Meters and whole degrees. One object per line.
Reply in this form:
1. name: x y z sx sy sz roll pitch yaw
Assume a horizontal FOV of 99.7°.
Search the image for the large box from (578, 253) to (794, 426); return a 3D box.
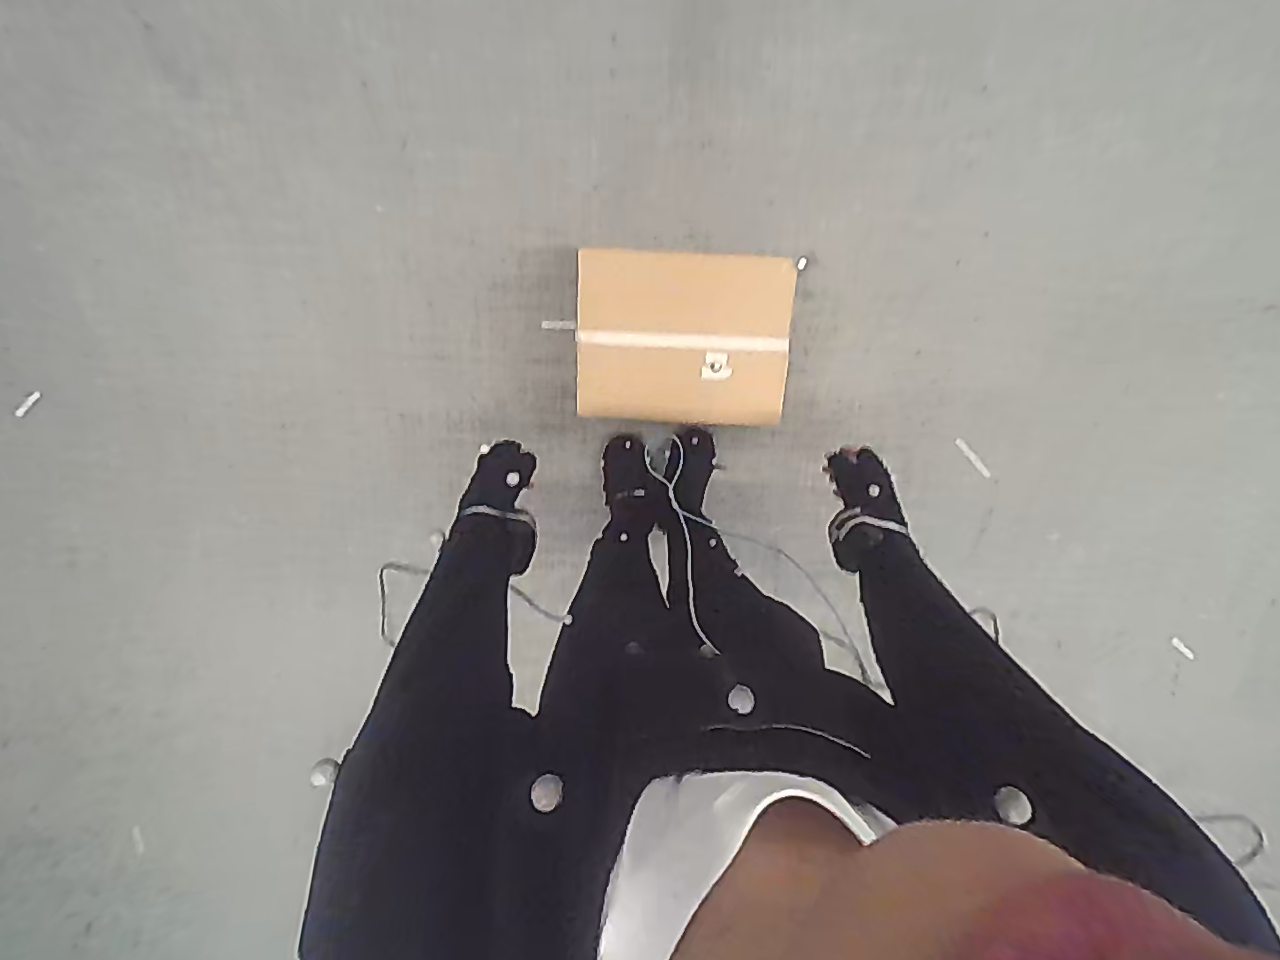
1. large box: 0.079 -0.295 1.168 0.408 0.320 0.320 3 105 -1
